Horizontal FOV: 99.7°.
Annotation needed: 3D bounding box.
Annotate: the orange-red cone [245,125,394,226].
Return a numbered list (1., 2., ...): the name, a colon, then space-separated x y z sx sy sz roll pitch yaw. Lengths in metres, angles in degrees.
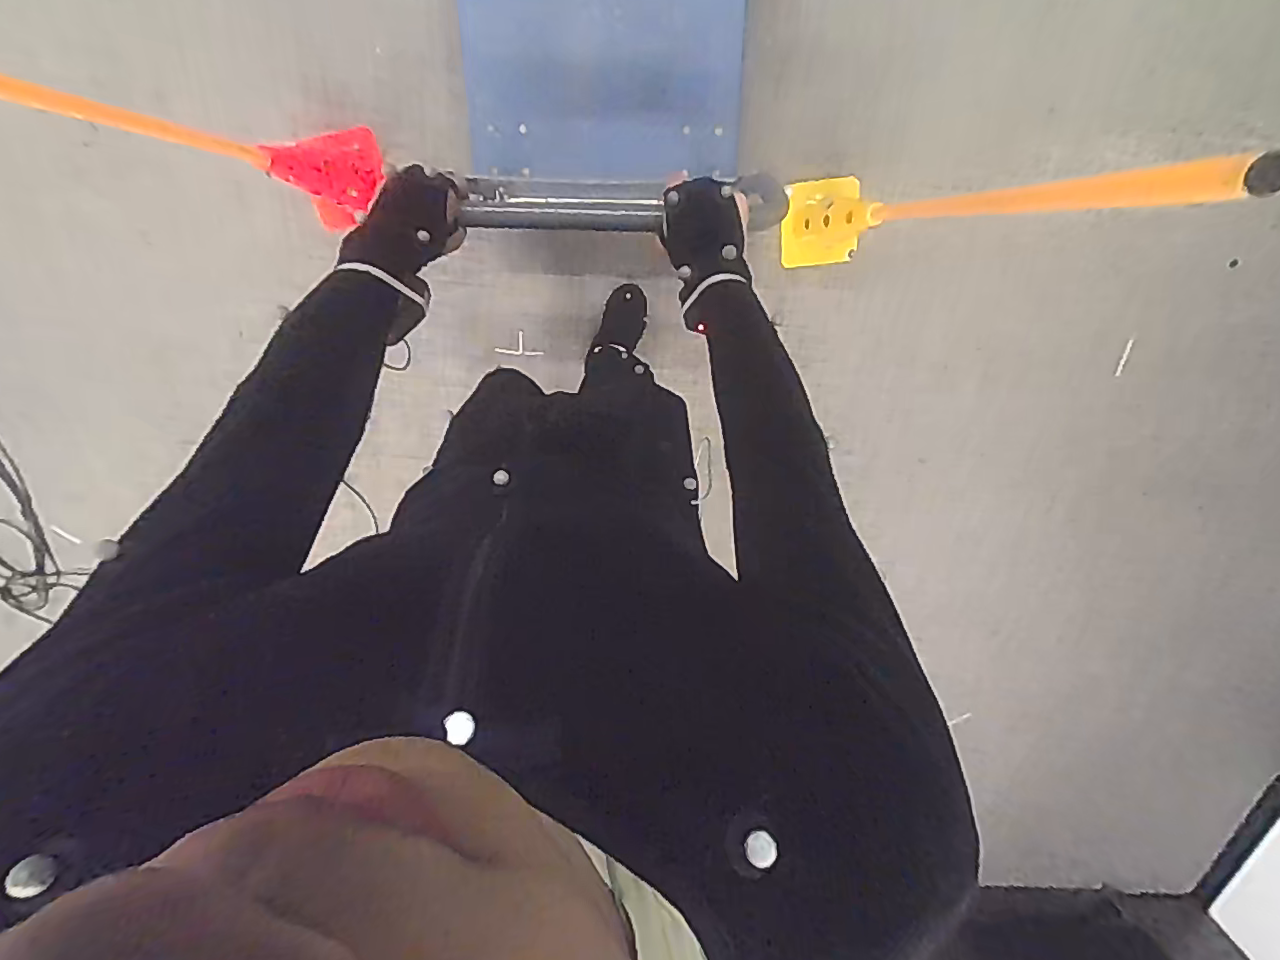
1. orange-red cone: -0.713 -0.671 1.156 0.199 0.360 0.198 -9 113 3
